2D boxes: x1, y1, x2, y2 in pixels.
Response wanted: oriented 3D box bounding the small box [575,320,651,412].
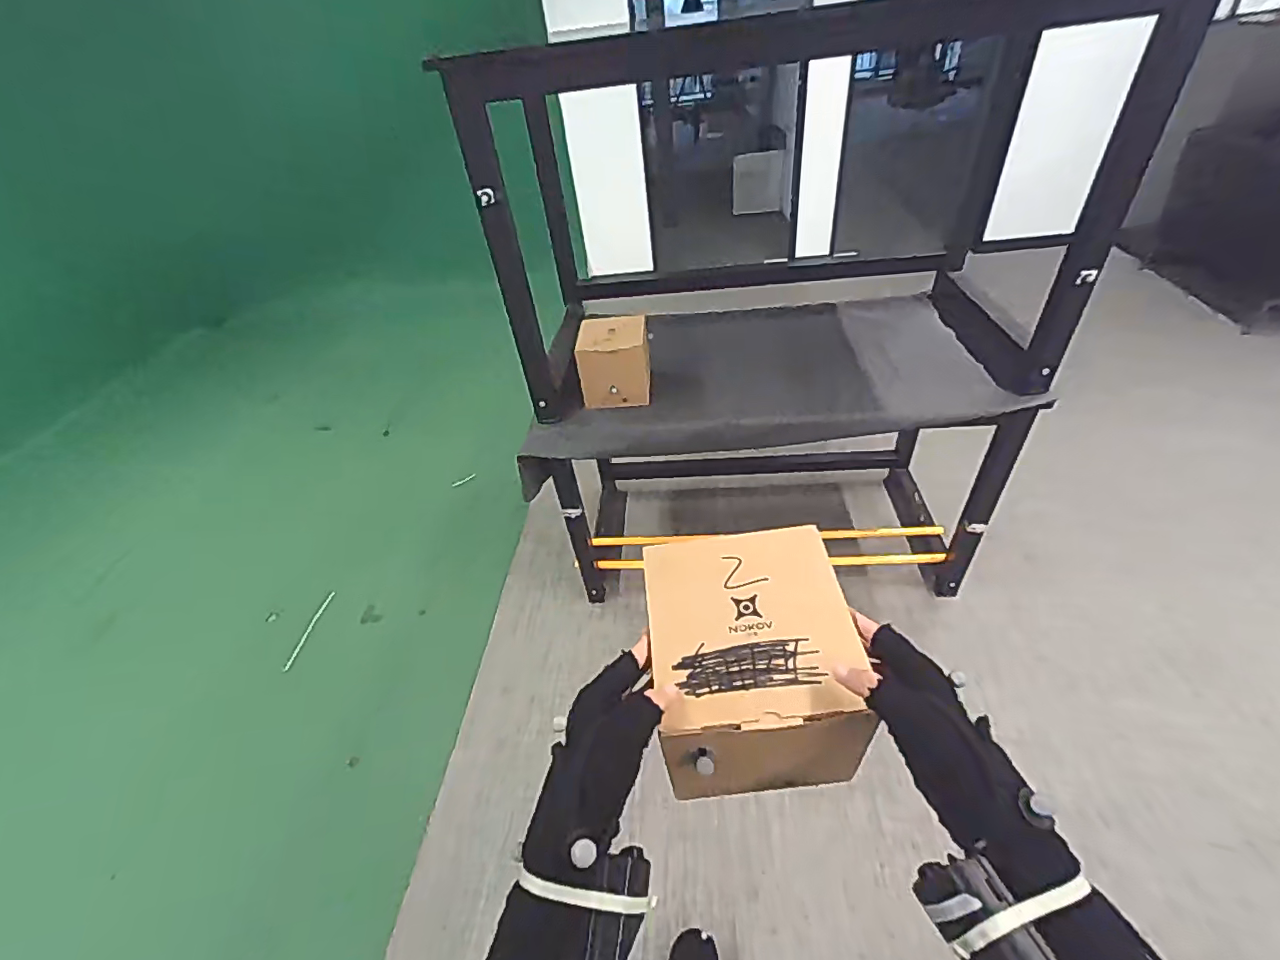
[{"bbox_3d":[-0.063,-0.293,1.394,0.168,0.176,0.179,-4,40,6],"label":"small box"}]
